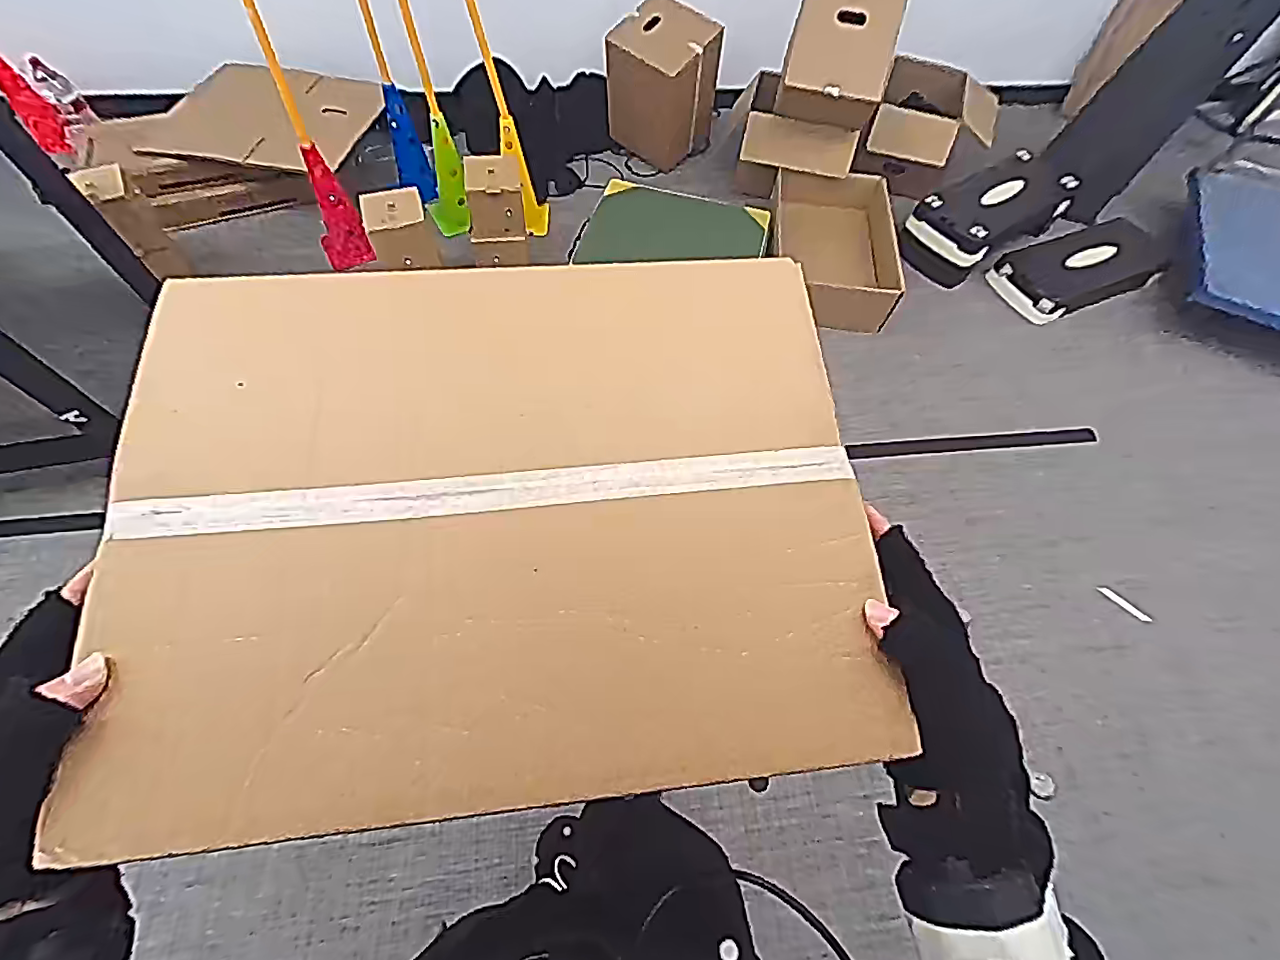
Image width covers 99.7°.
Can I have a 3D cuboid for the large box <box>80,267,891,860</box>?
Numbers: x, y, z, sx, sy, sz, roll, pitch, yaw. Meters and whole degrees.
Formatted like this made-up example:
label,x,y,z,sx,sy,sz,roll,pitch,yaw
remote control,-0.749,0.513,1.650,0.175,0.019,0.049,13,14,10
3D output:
label,x,y,z,sx,sy,sz,roll,pitch,yaw
large box,-0.086,0.060,0.453,0.408,0.320,0.320,-5,70,-5
